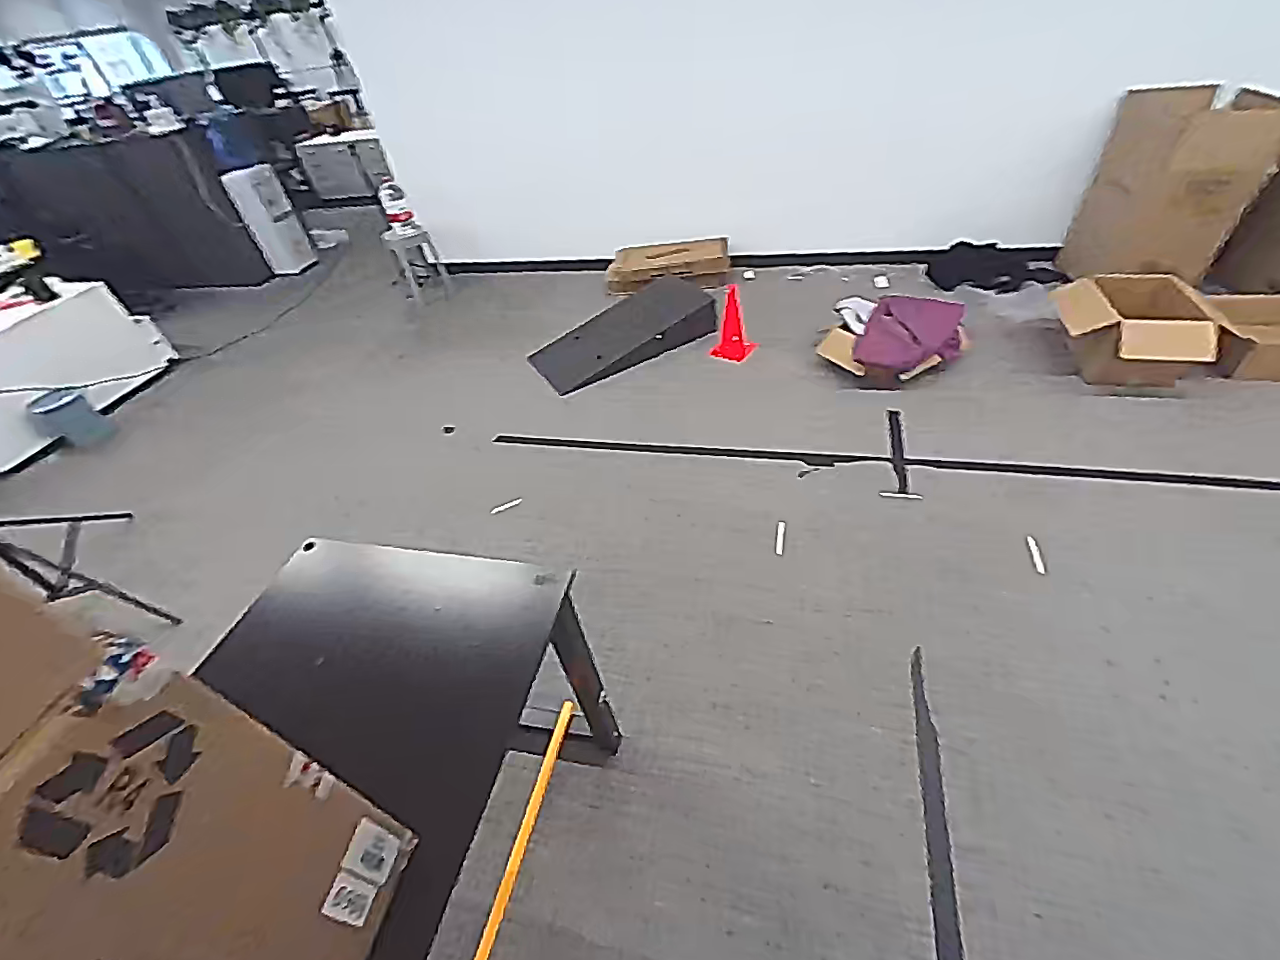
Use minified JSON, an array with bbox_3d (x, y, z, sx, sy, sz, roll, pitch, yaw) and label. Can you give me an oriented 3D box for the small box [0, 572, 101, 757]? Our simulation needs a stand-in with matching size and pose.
[{"bbox_3d":[-0.470,0.111,0.283,0.168,0.176,0.179,3,43,11],"label":"small box"}]
